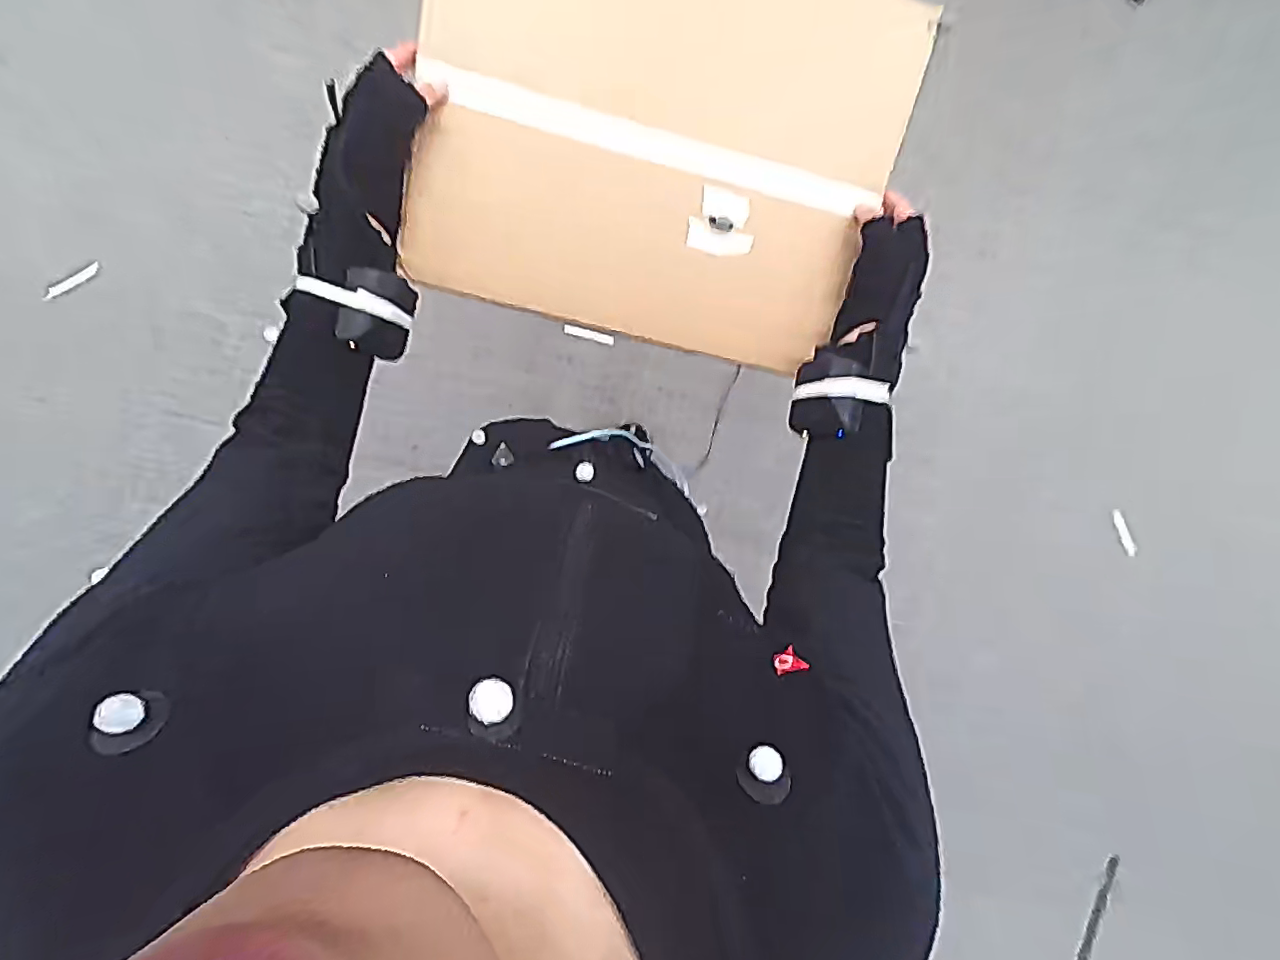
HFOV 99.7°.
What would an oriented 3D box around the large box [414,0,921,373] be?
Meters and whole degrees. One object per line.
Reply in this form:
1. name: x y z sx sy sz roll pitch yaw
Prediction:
1. large box: 0.005 -0.328 0.618 0.408 0.320 0.320 12 106 -8
